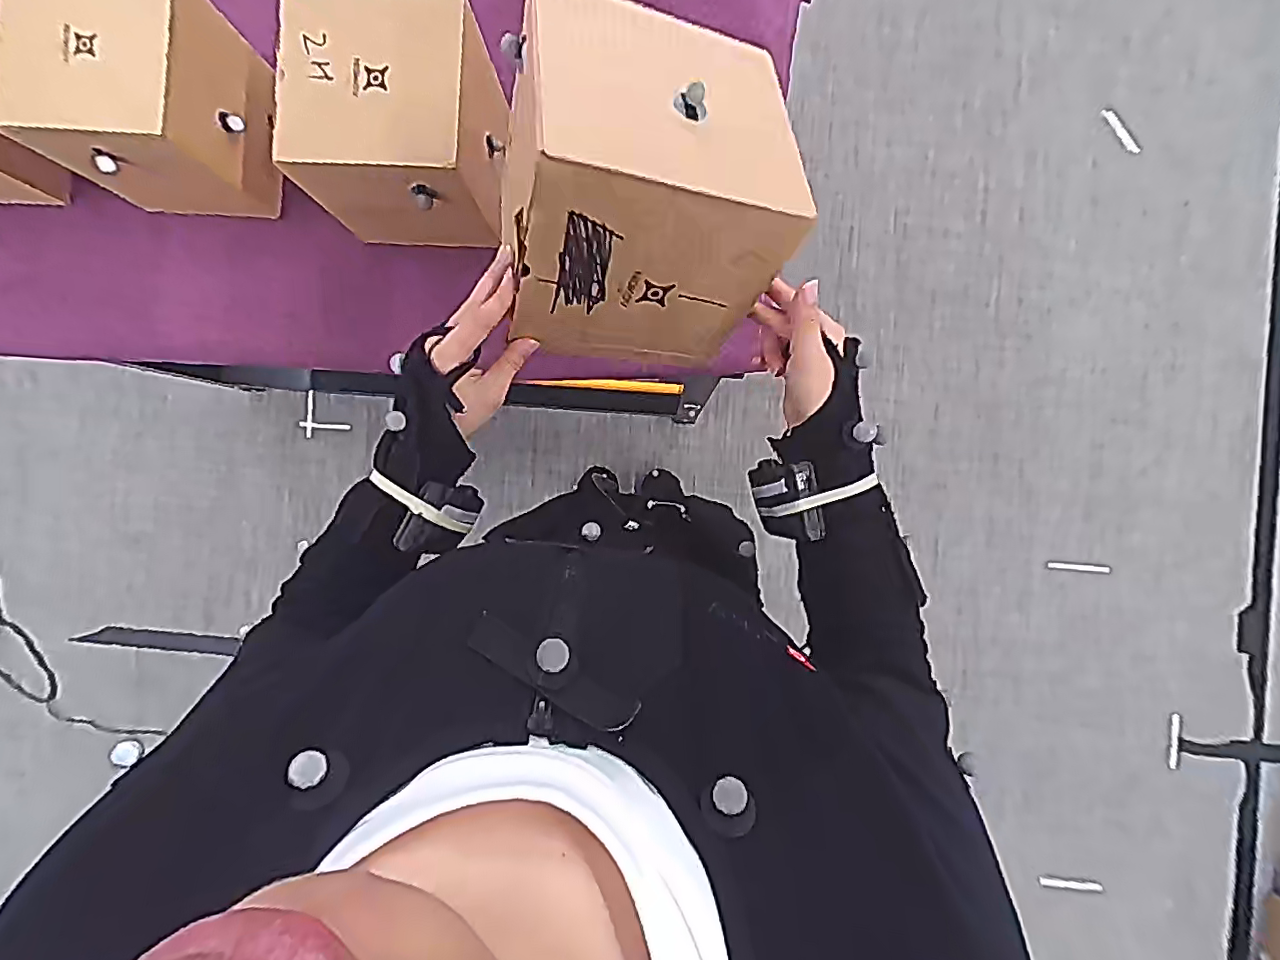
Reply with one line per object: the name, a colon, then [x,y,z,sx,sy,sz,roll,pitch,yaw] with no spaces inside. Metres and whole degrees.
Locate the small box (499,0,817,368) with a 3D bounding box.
small box: [-0.006,-0.206,0.398,0.179,0.168,0.176,1,70,-21]

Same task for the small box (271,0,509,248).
small box: [-0.247,-0.366,0.577,0.179,0.176,0.168,3,89,2]

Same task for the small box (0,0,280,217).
small box: [-0.522,-0.407,0.589,0.179,0.176,0.168,4,90,2]
